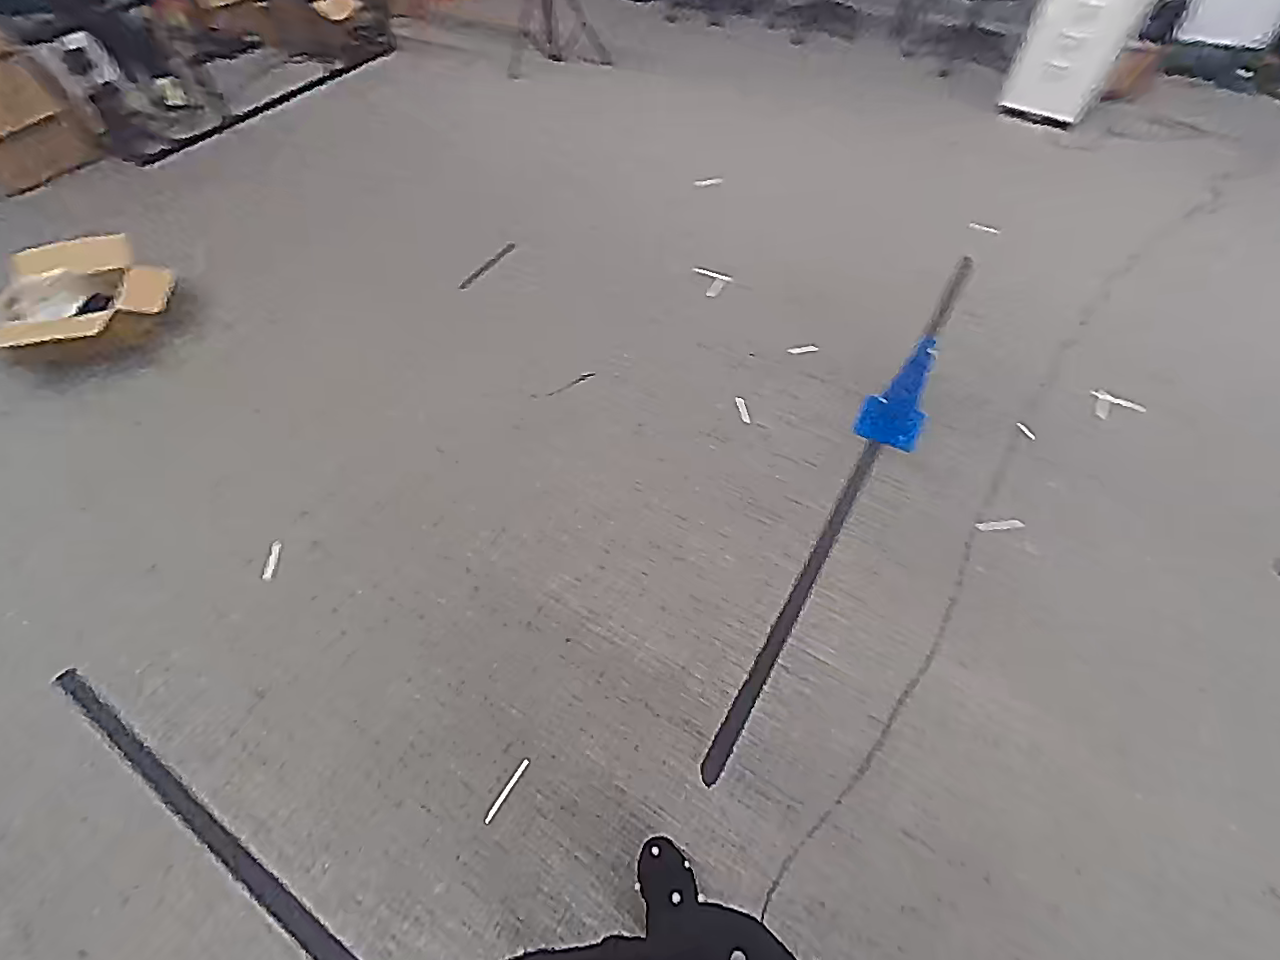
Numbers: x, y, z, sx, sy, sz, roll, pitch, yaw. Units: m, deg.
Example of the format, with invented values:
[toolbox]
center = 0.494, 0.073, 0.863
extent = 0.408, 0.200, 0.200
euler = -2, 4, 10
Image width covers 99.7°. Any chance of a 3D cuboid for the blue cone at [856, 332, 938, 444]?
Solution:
[blue cone]
center = 0.836, -0.307, 1.709
extent = 0.192, 0.380, 0.193
euler = 21, 57, 17
